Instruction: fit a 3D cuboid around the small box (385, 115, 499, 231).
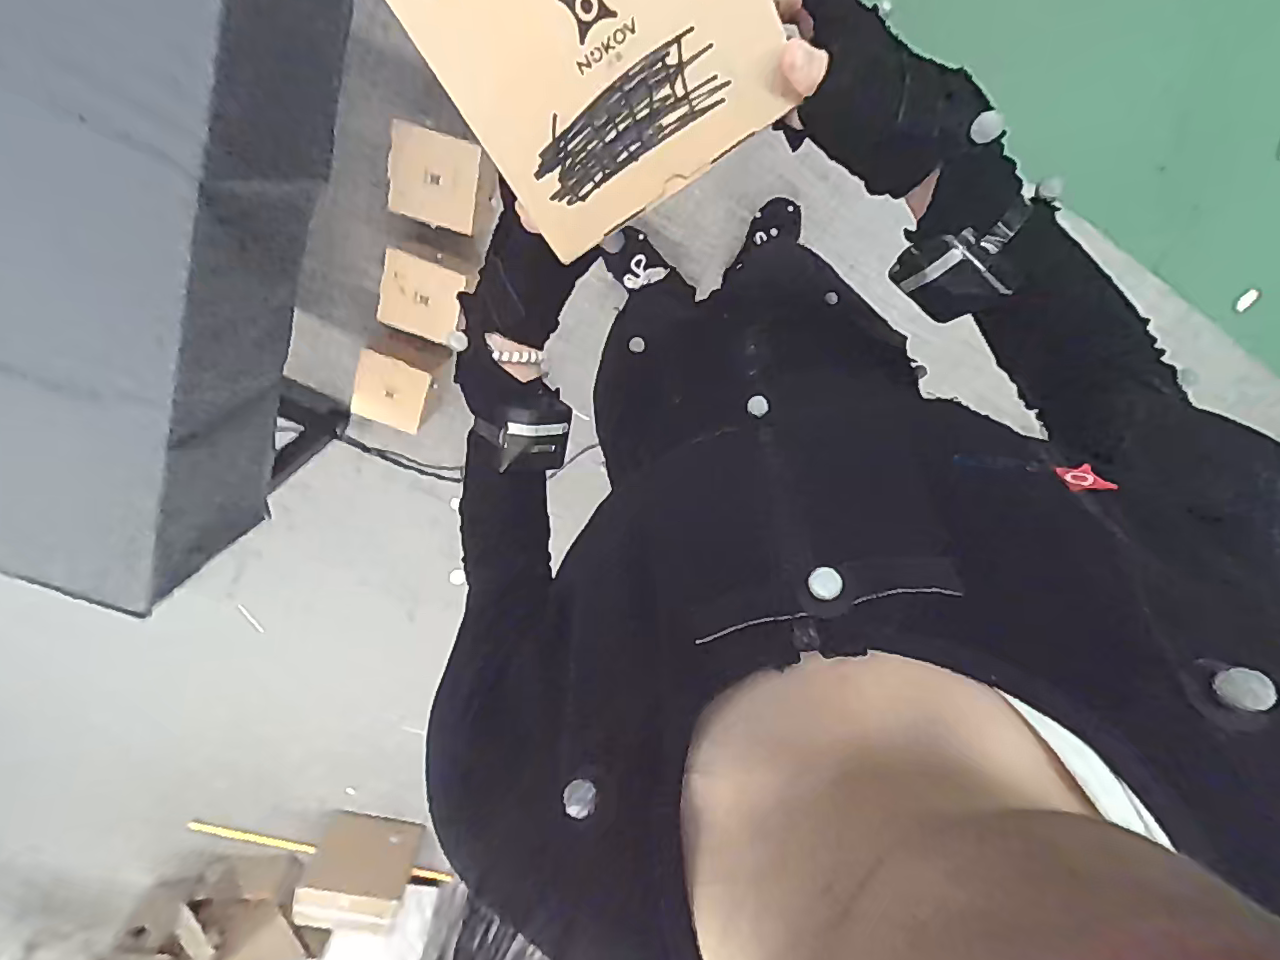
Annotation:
[{"bbox_3d":[-0.415,-0.645,1.149,0.179,0.176,0.168,14,119,-7],"label":"small box"}]
